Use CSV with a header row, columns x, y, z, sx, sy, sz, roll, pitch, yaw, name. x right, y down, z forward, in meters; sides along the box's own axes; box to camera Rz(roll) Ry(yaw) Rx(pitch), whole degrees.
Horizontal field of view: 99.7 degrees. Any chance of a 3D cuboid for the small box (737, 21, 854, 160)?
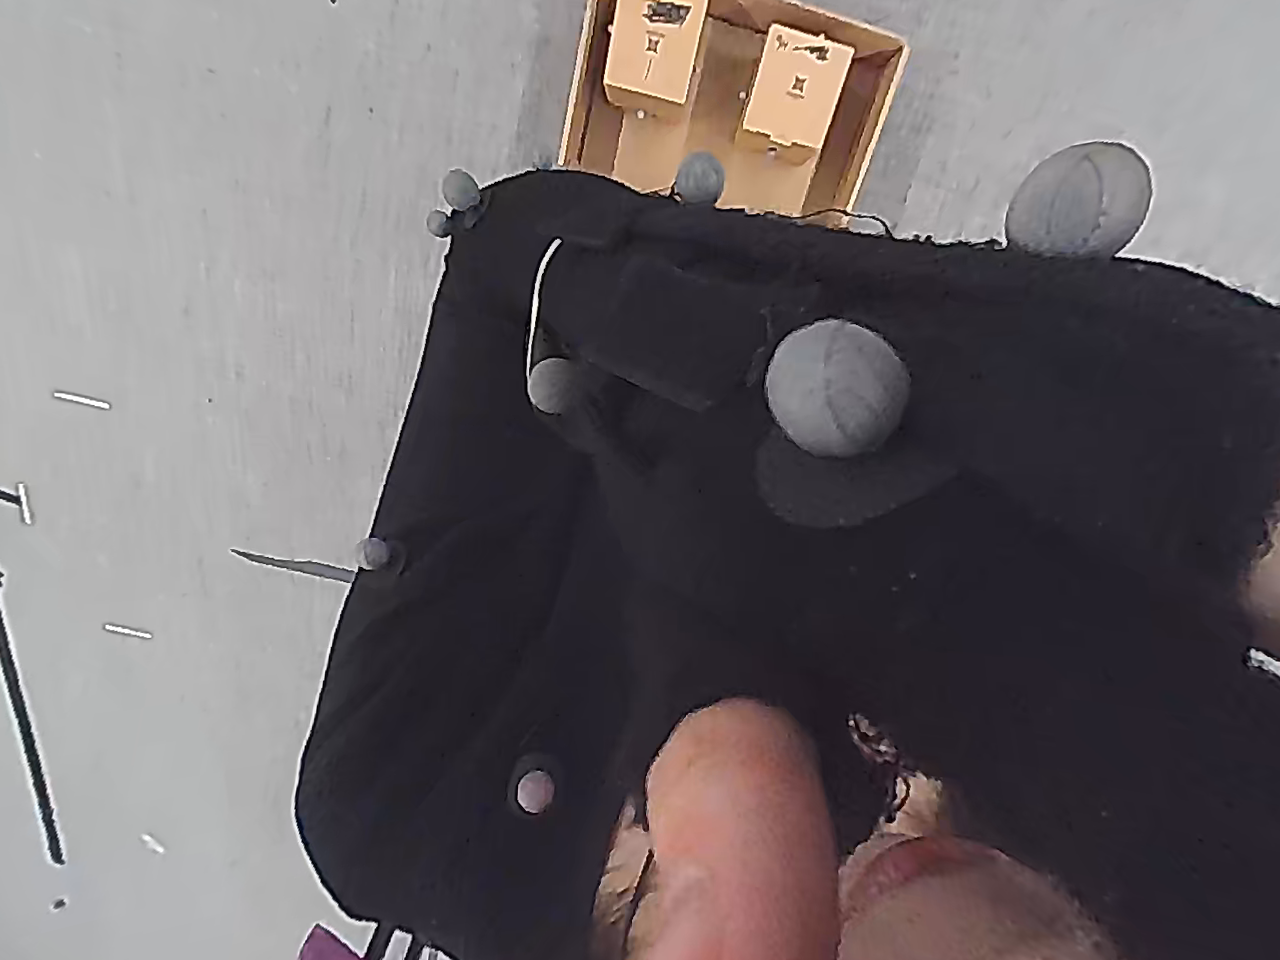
x,y,z,sx,sy,sz,roll,pitch,yaw,name
0.304,-0.780,1.106,0.168,0.176,0.179,15,112,-3,small box
